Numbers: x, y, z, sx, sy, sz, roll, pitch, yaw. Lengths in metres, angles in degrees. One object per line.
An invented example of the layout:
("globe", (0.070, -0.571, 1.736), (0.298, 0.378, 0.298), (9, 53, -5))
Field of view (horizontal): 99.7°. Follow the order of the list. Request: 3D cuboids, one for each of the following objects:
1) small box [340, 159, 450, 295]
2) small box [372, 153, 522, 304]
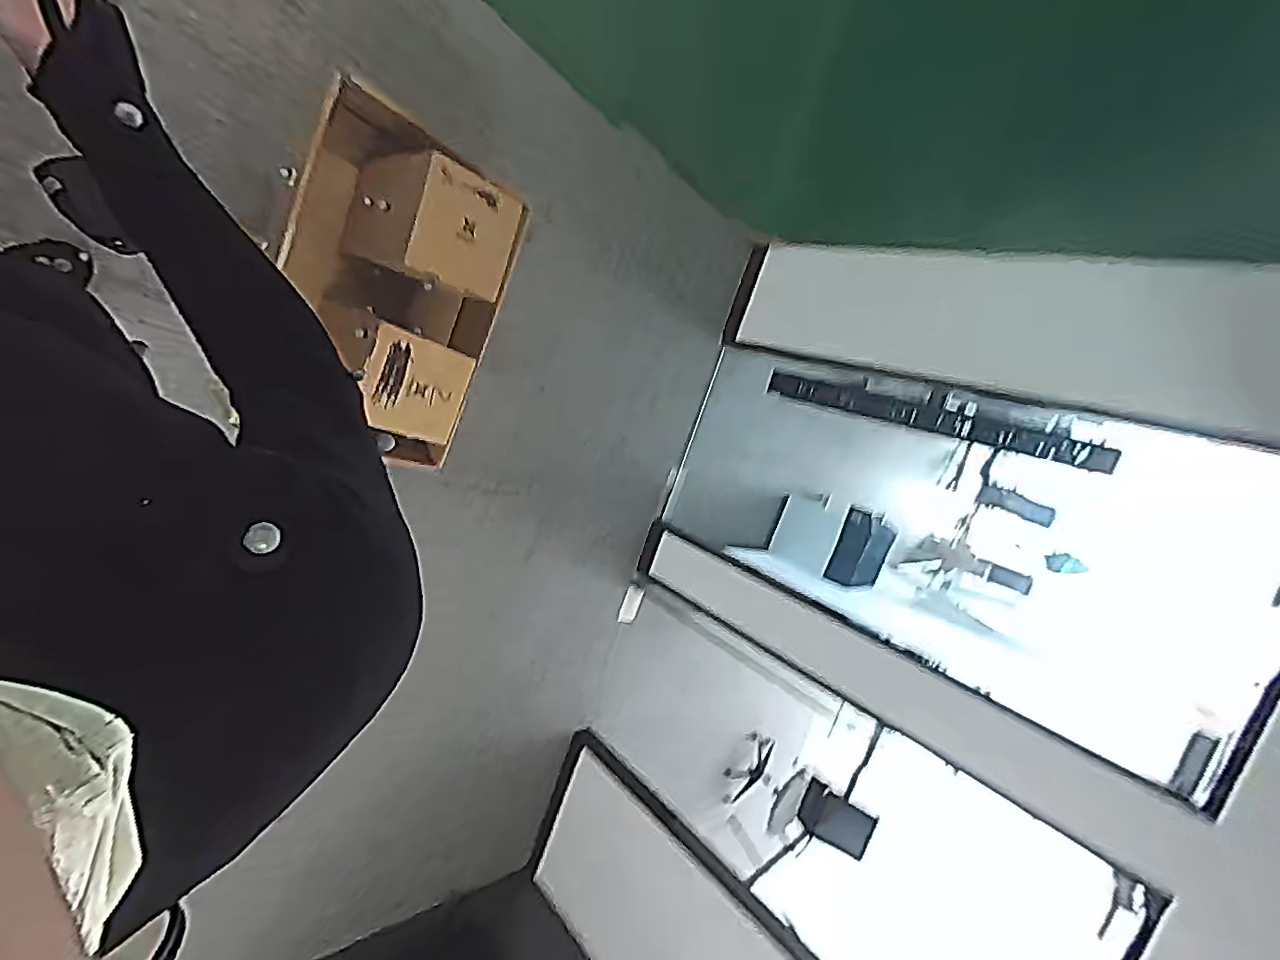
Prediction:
("small box", (-0.449, -0.482, 1.039), (0.168, 0.176, 0.179), (14, 100, -49))
("small box", (-0.338, -0.428, 0.932), (0.168, 0.176, 0.179), (11, 102, -48))
